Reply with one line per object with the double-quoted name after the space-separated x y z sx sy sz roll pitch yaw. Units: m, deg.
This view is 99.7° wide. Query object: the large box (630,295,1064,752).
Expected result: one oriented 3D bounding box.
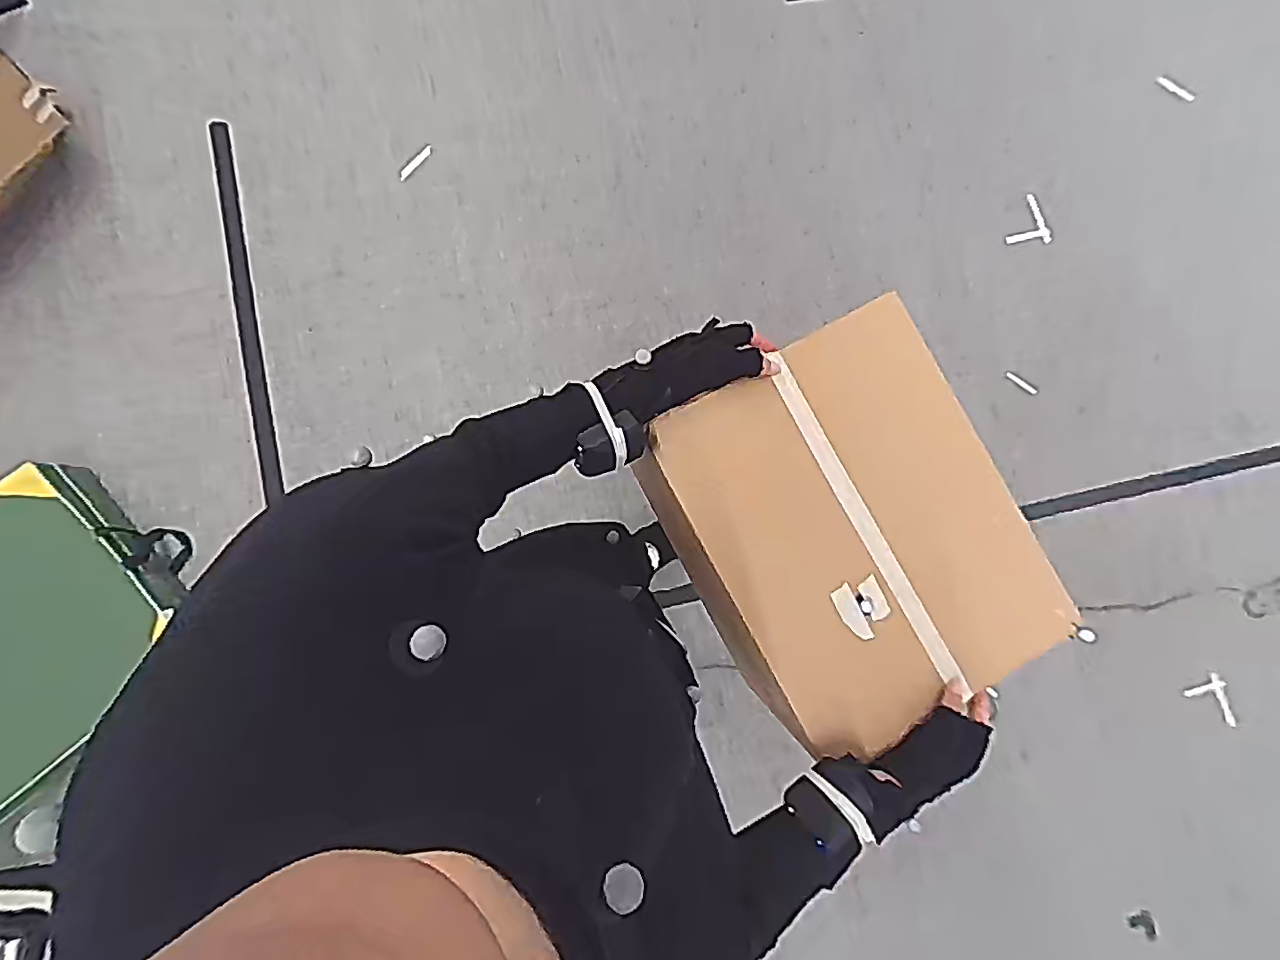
0.220 0.047 0.720 0.320 0.320 0.408 -29 89 -5 "large box"
